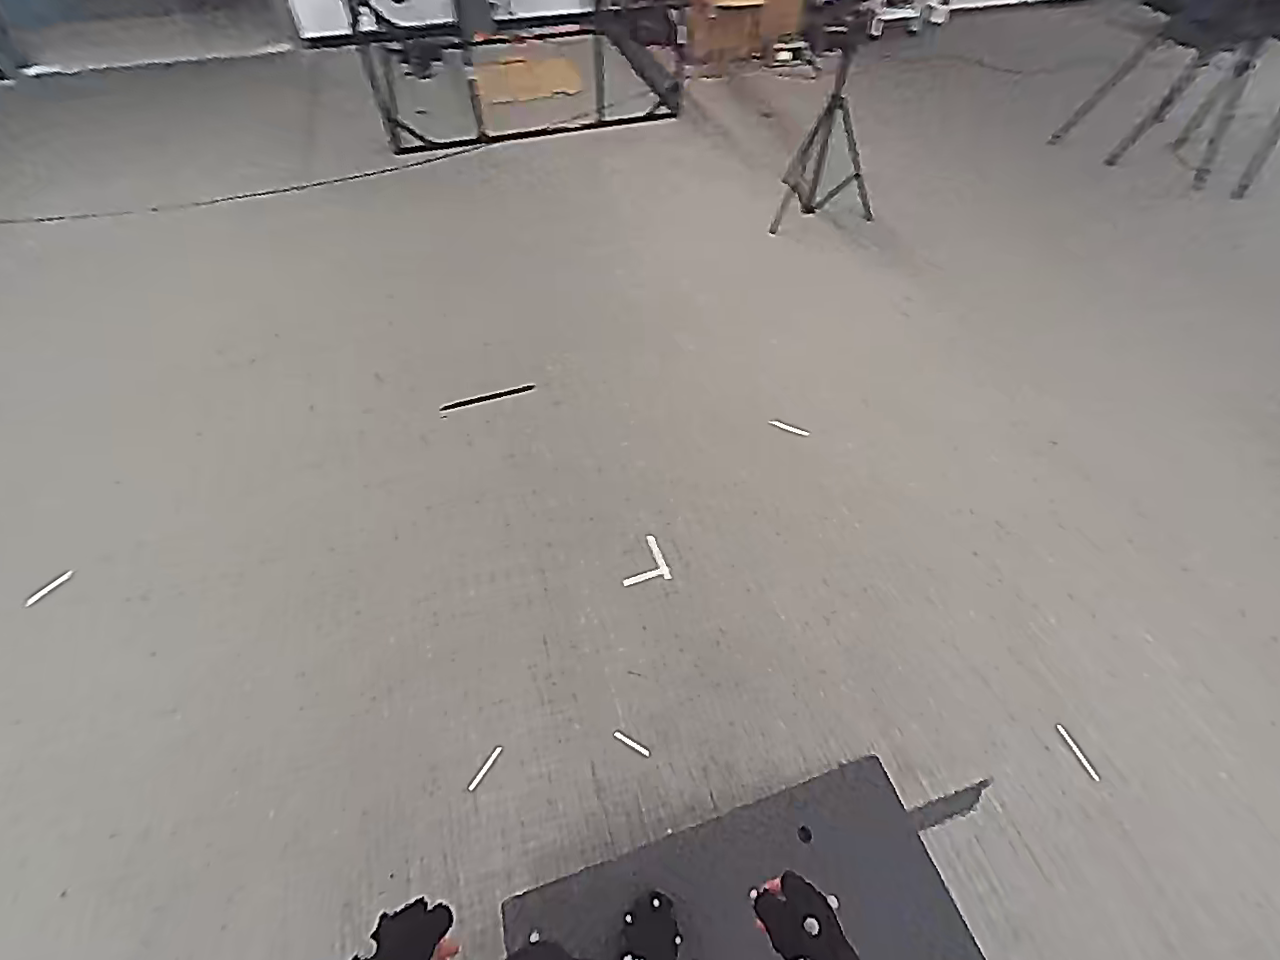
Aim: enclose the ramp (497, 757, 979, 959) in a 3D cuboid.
[{"bbox_3d":[0.234,1.004,1.169,0.991,0.206,0.509,-16,54,-12],"label":"ramp"}]
